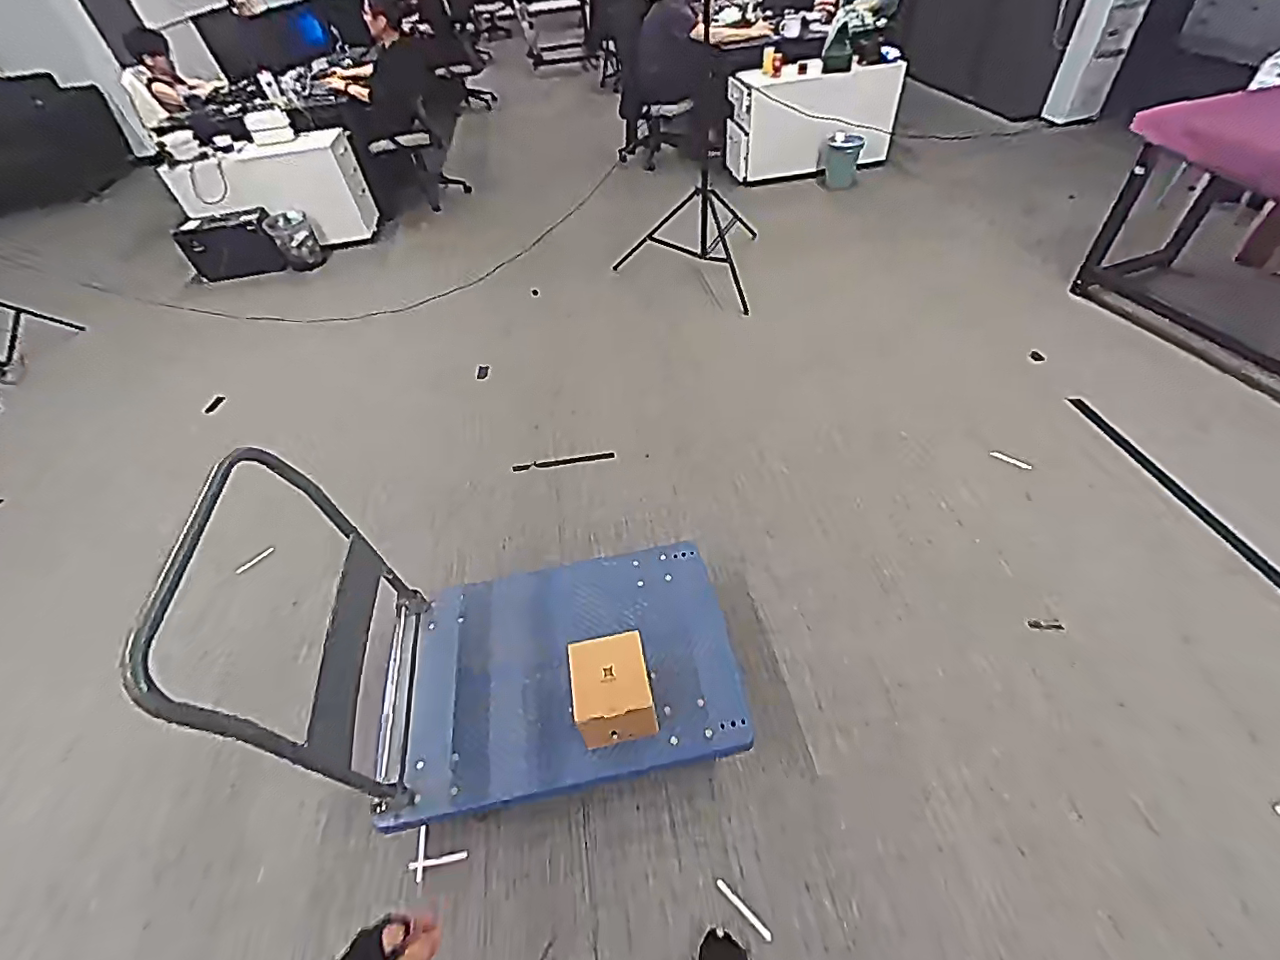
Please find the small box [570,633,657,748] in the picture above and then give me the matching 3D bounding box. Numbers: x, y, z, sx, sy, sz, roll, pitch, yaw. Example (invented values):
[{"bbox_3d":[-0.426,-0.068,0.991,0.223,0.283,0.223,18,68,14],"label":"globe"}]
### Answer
[{"bbox_3d":[-0.060,0.477,1.223,0.168,0.176,0.179,-11,47,-3],"label":"small box"}]
